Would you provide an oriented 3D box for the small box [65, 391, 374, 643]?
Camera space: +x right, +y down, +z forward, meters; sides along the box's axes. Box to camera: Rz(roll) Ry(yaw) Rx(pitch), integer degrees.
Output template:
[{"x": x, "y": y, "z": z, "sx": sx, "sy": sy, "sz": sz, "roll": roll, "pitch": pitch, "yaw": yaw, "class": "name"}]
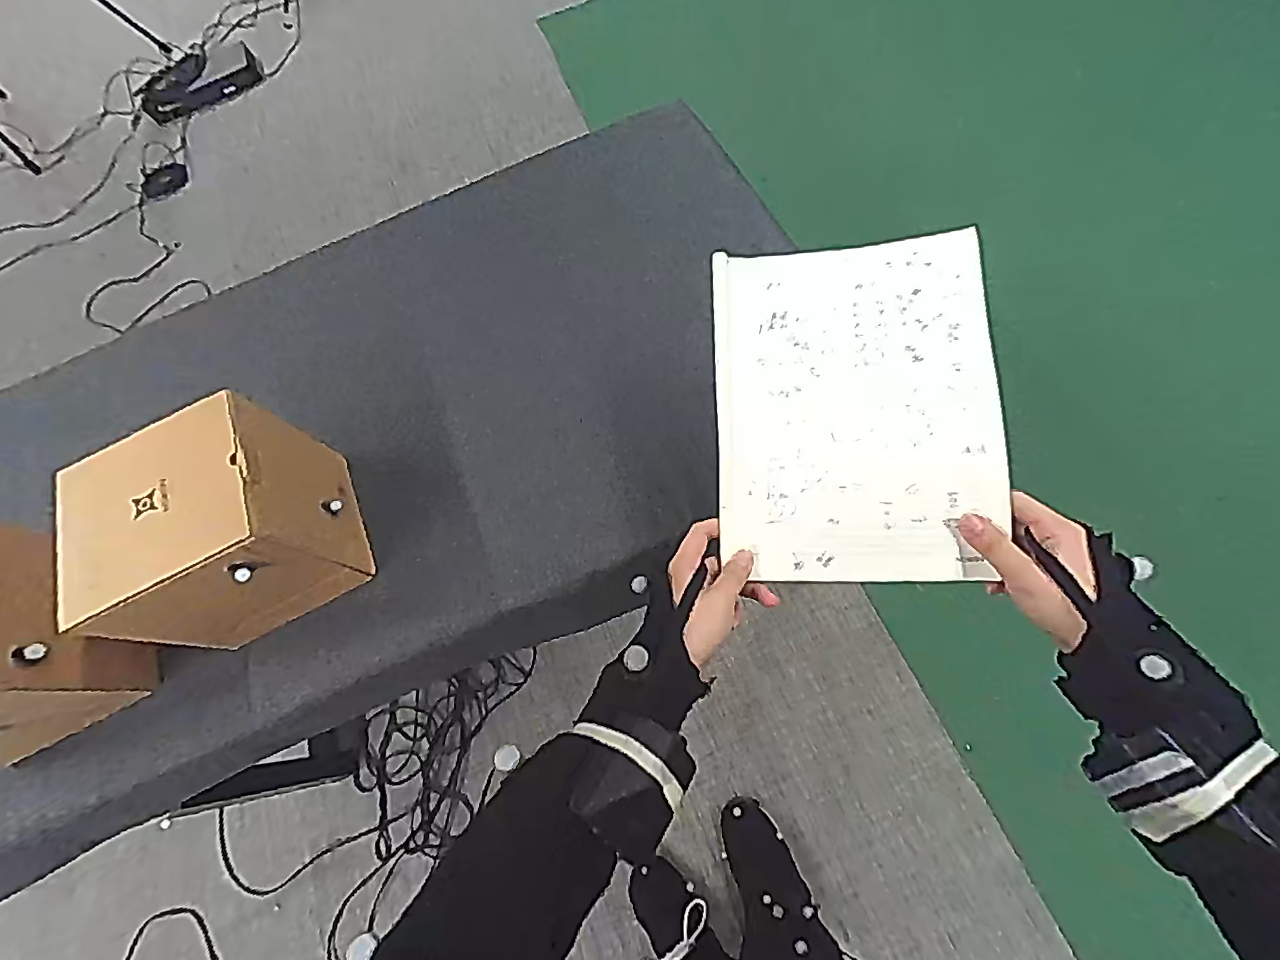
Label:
[{"x": -0.410, "y": 0.049, "z": 0.547, "sx": 0.179, "sy": 0.176, "sz": 0.168, "roll": -28, "pitch": 66, "yaw": -2, "class": "small box"}]
